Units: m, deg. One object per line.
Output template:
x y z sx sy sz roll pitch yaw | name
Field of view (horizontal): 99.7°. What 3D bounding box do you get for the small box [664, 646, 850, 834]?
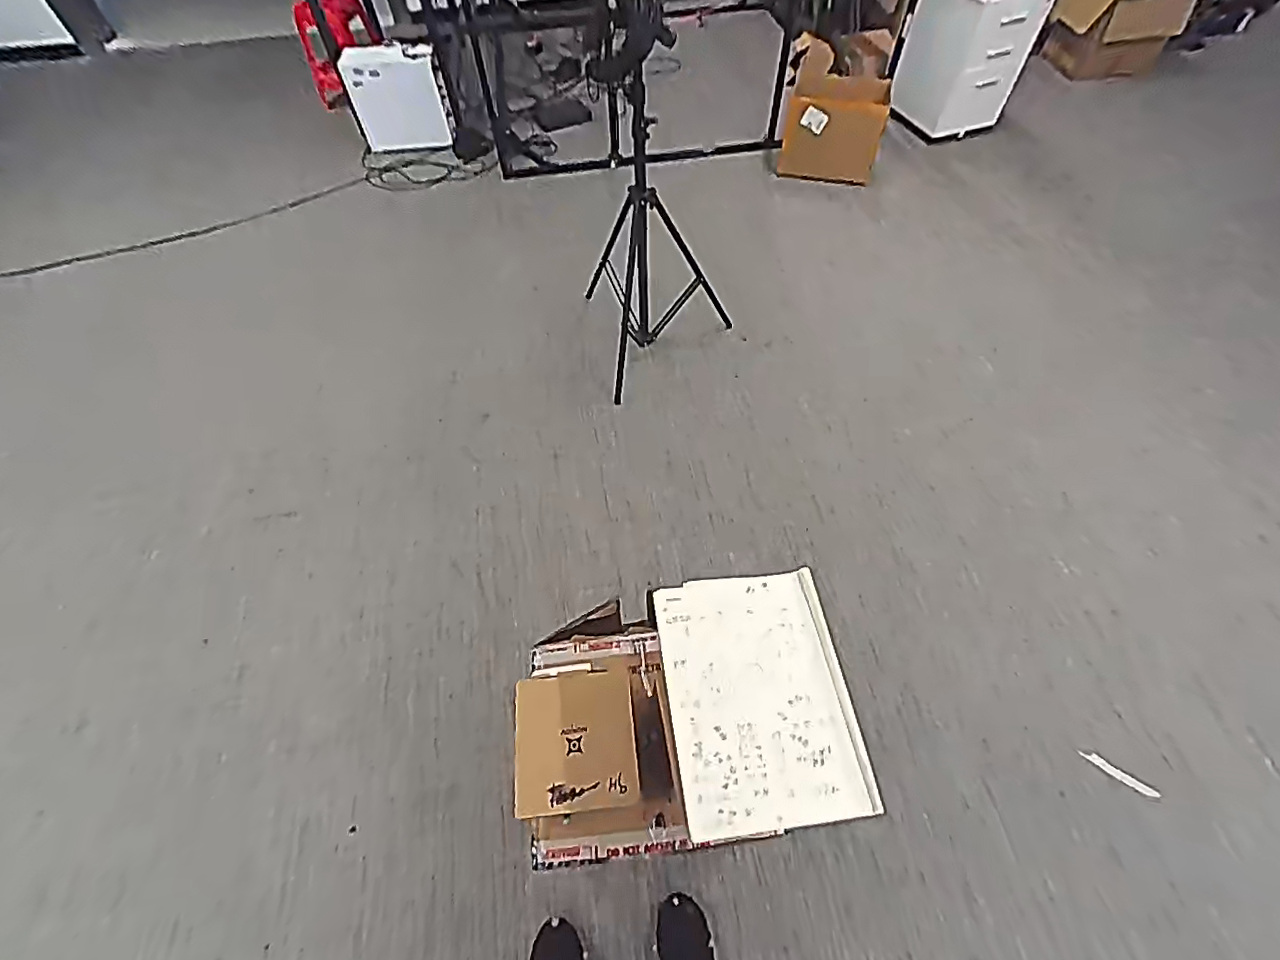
0.125 0.321 0.663 0.168 0.176 0.179 -6 58 -5 | small box
